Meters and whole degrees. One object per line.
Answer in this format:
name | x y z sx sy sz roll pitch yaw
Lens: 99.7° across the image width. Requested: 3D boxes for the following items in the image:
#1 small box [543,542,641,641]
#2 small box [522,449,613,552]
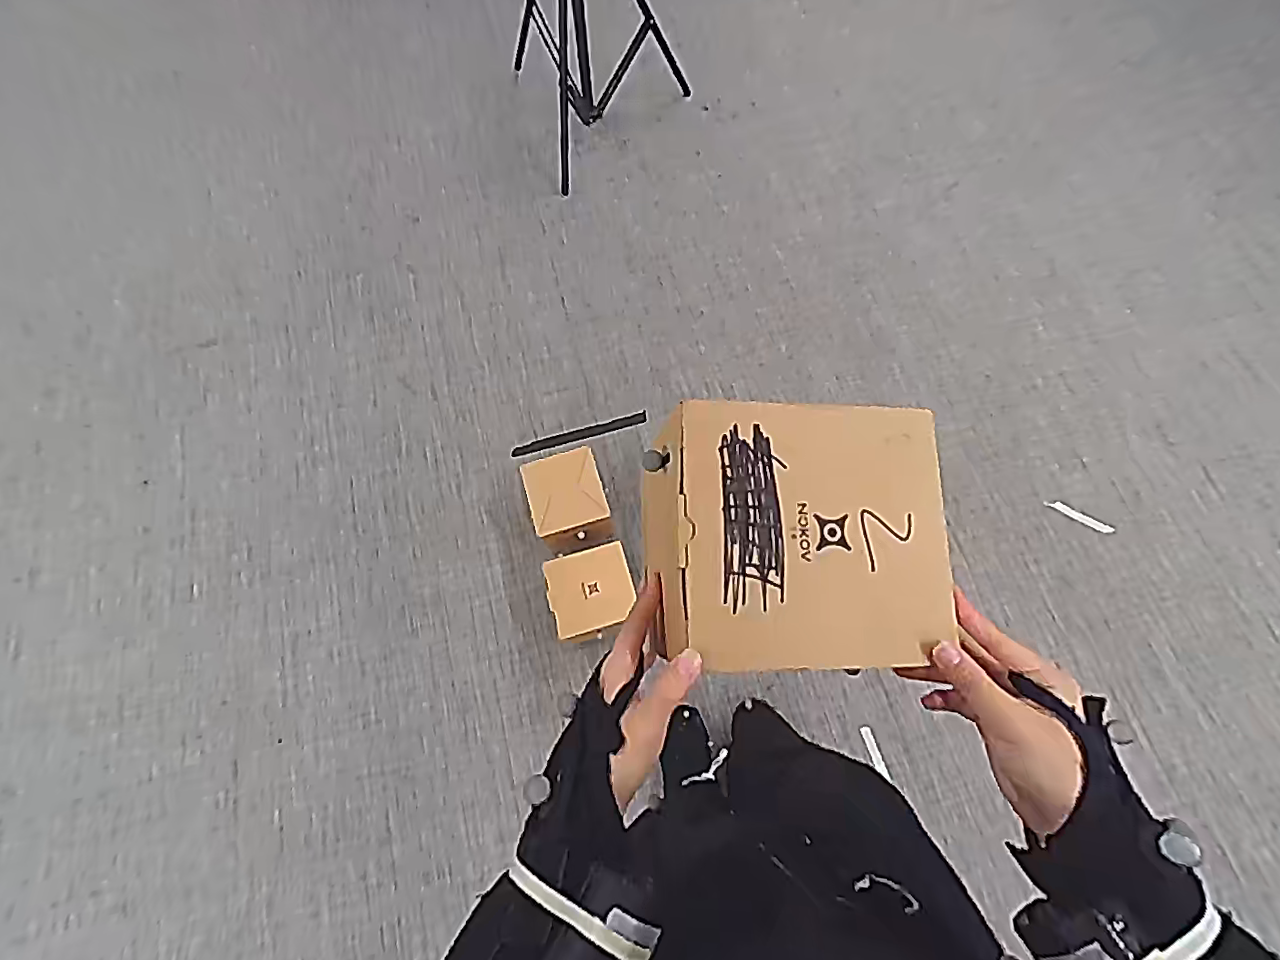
small box | -0.103 0.252 1.201 0.179 0.176 0.168 -16 72 -4
small box | -0.168 0.048 1.267 0.168 0.176 0.179 -17 72 -5
